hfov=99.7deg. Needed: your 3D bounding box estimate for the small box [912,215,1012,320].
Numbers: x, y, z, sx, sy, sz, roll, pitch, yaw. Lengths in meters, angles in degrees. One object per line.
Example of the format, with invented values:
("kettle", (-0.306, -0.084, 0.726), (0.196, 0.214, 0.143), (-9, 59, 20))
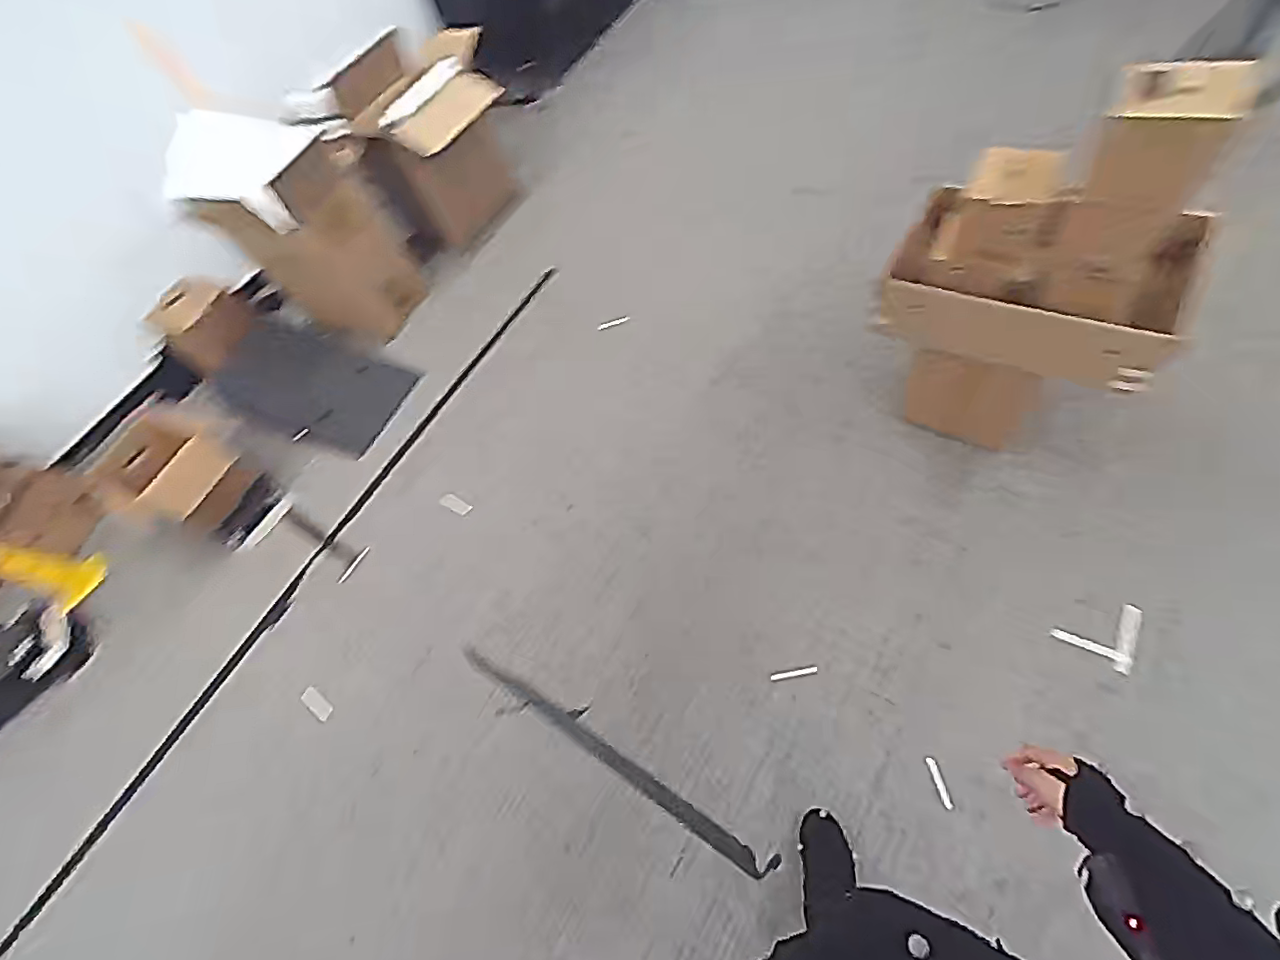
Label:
("small box", (0.813, -0.542, 1.380), (0.168, 0.176, 0.179), (19, 67, 25))
